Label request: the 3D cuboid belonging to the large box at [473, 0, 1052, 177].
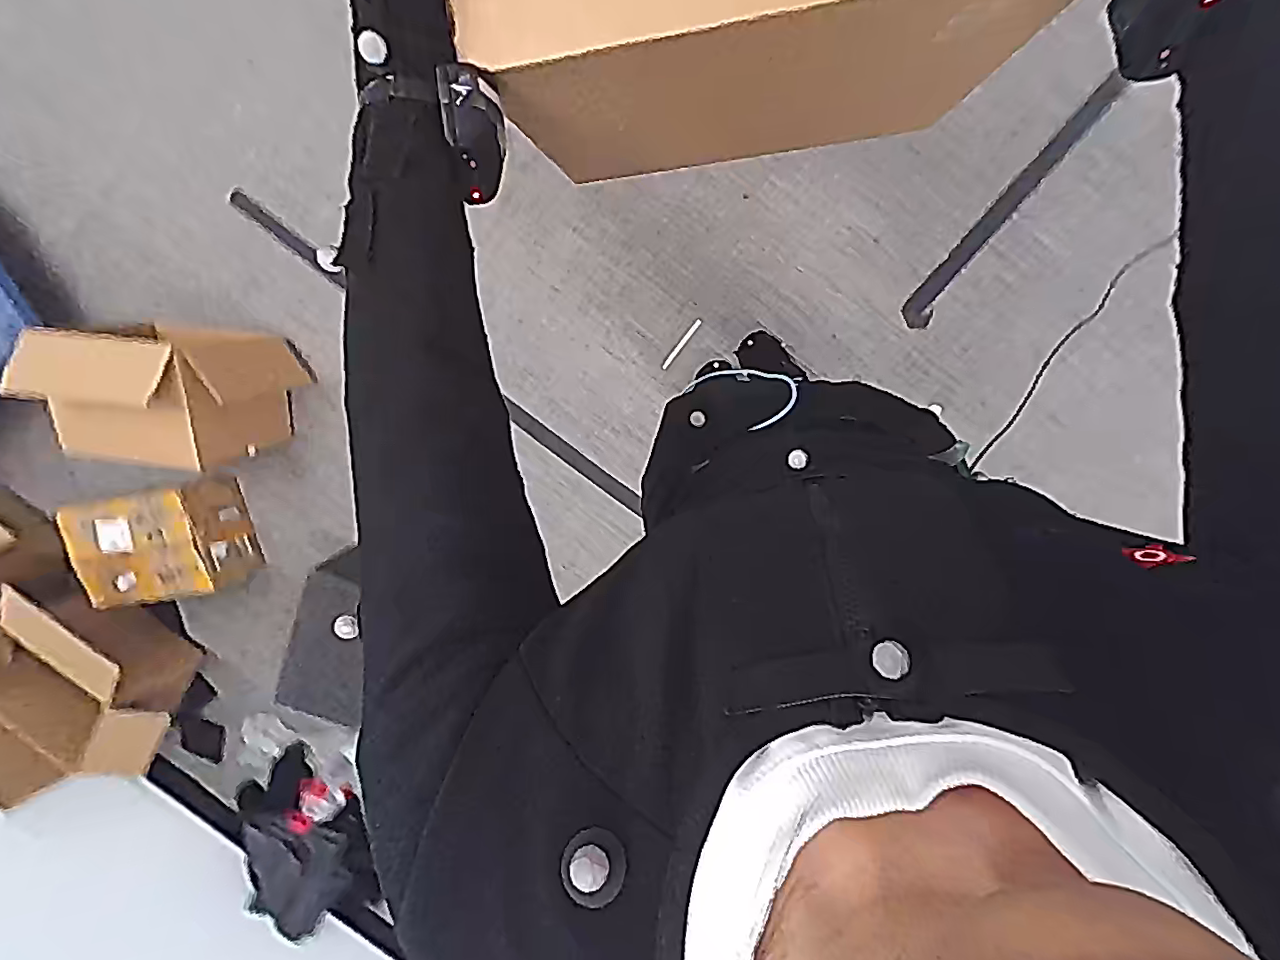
[{"bbox_3d":[0.087,-0.480,0.438,0.408,0.320,0.320,-4,106,8],"label":"large box"}]
